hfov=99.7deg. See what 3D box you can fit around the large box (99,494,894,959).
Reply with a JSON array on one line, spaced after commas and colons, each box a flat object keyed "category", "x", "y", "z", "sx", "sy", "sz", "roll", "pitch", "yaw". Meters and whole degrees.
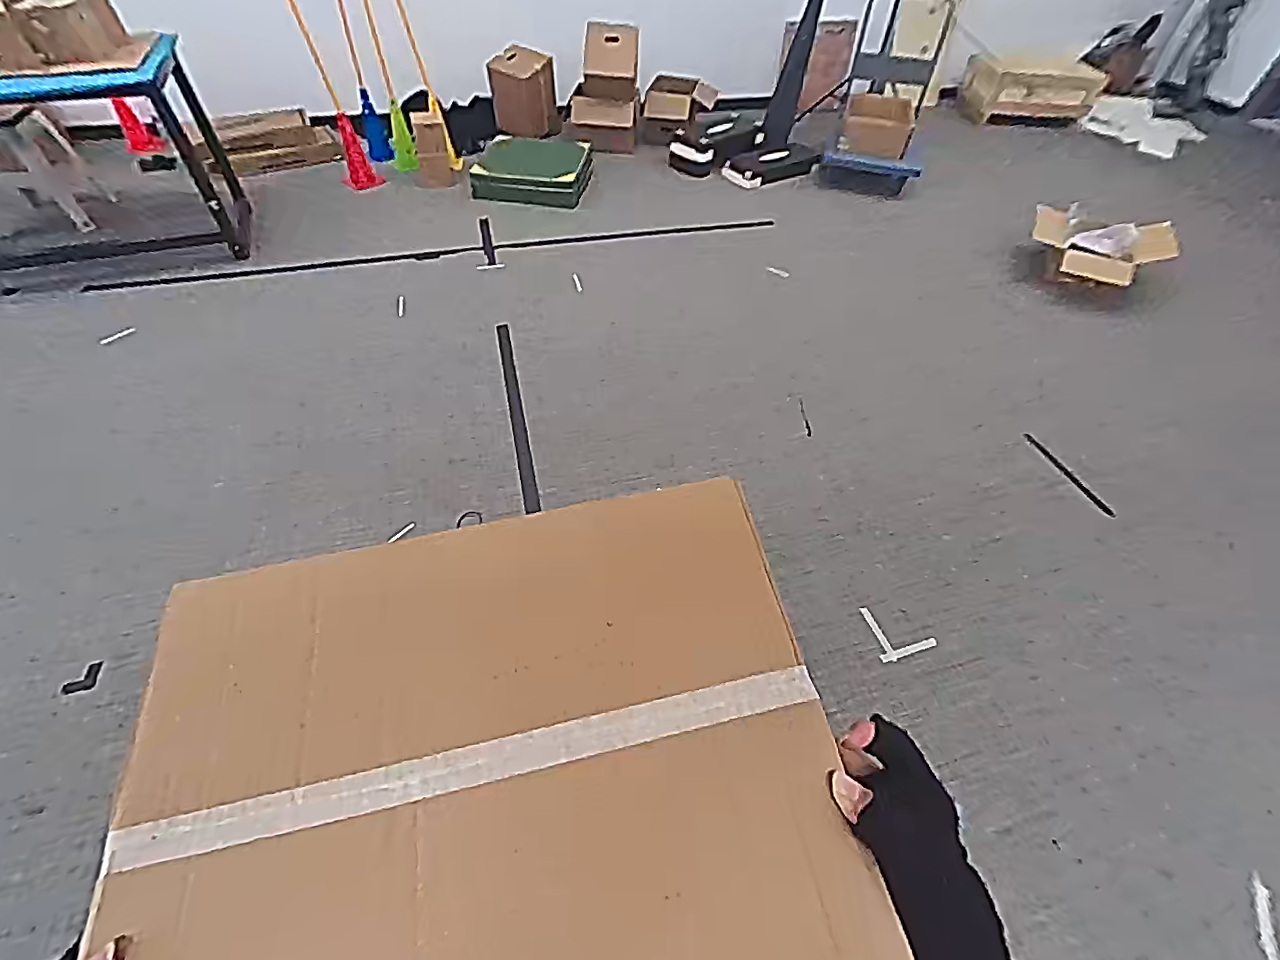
[{"category": "large box", "x": -0.089, "y": 0.252, "z": 0.448, "sx": 0.408, "sy": 0.320, "sz": 0.320, "roll": -11, "pitch": 59, "yaw": -6}]
